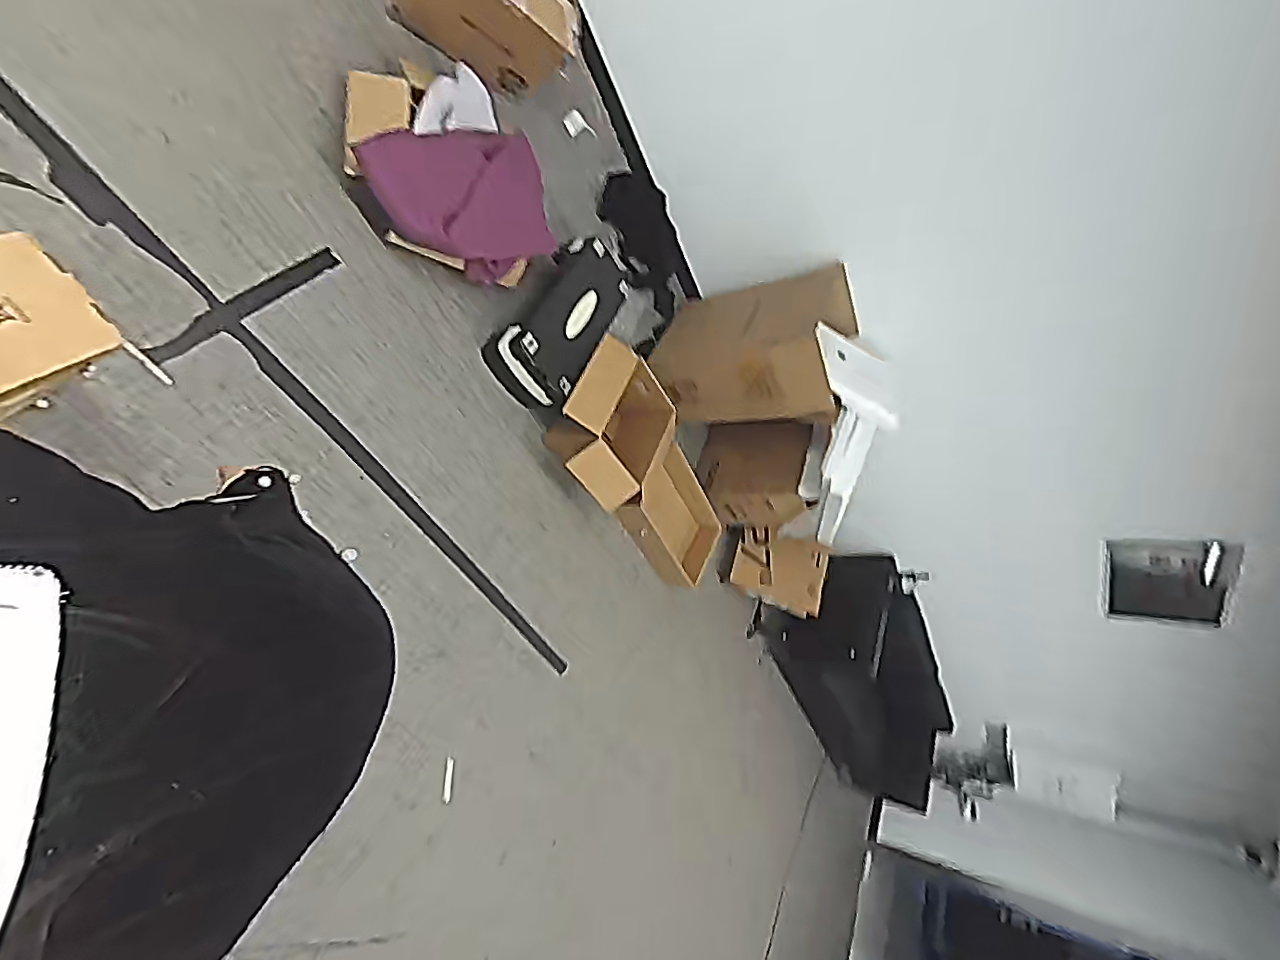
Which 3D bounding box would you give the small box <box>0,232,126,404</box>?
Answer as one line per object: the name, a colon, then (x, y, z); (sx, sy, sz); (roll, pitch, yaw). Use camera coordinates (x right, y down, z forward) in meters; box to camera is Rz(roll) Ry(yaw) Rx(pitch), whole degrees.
small box: (-0.876, -0.210, 0.738); (0.179, 0.176, 0.168); (-51, 127, -39)
